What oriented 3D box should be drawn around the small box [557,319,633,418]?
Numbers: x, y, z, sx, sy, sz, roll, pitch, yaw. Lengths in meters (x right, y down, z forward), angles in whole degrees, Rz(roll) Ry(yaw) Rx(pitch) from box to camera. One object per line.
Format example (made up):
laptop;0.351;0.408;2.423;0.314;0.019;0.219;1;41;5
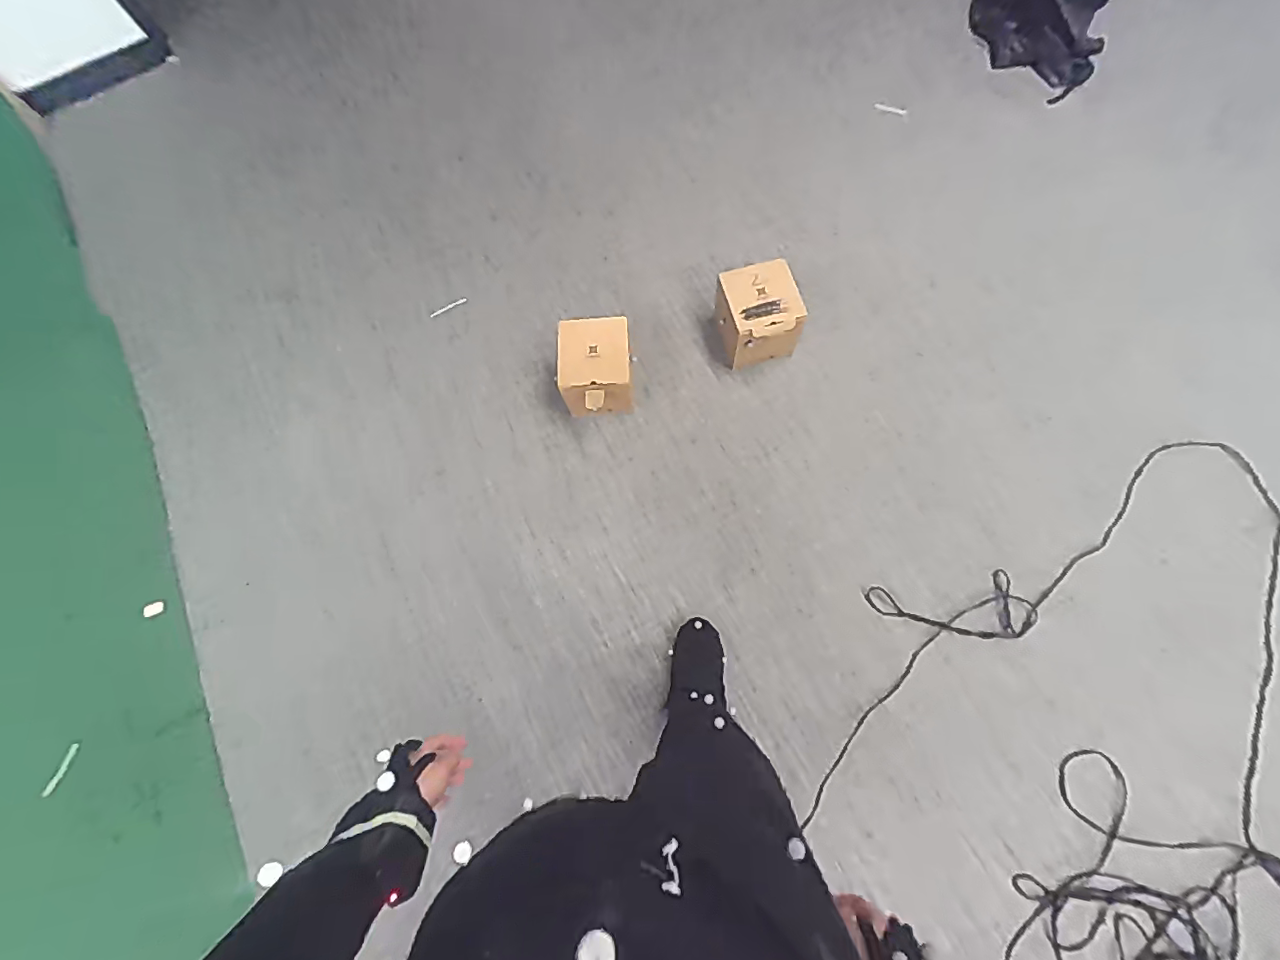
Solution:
small box;-0.104;-0.266;1.313;0.168;0.176;0.179;-3;73;2
